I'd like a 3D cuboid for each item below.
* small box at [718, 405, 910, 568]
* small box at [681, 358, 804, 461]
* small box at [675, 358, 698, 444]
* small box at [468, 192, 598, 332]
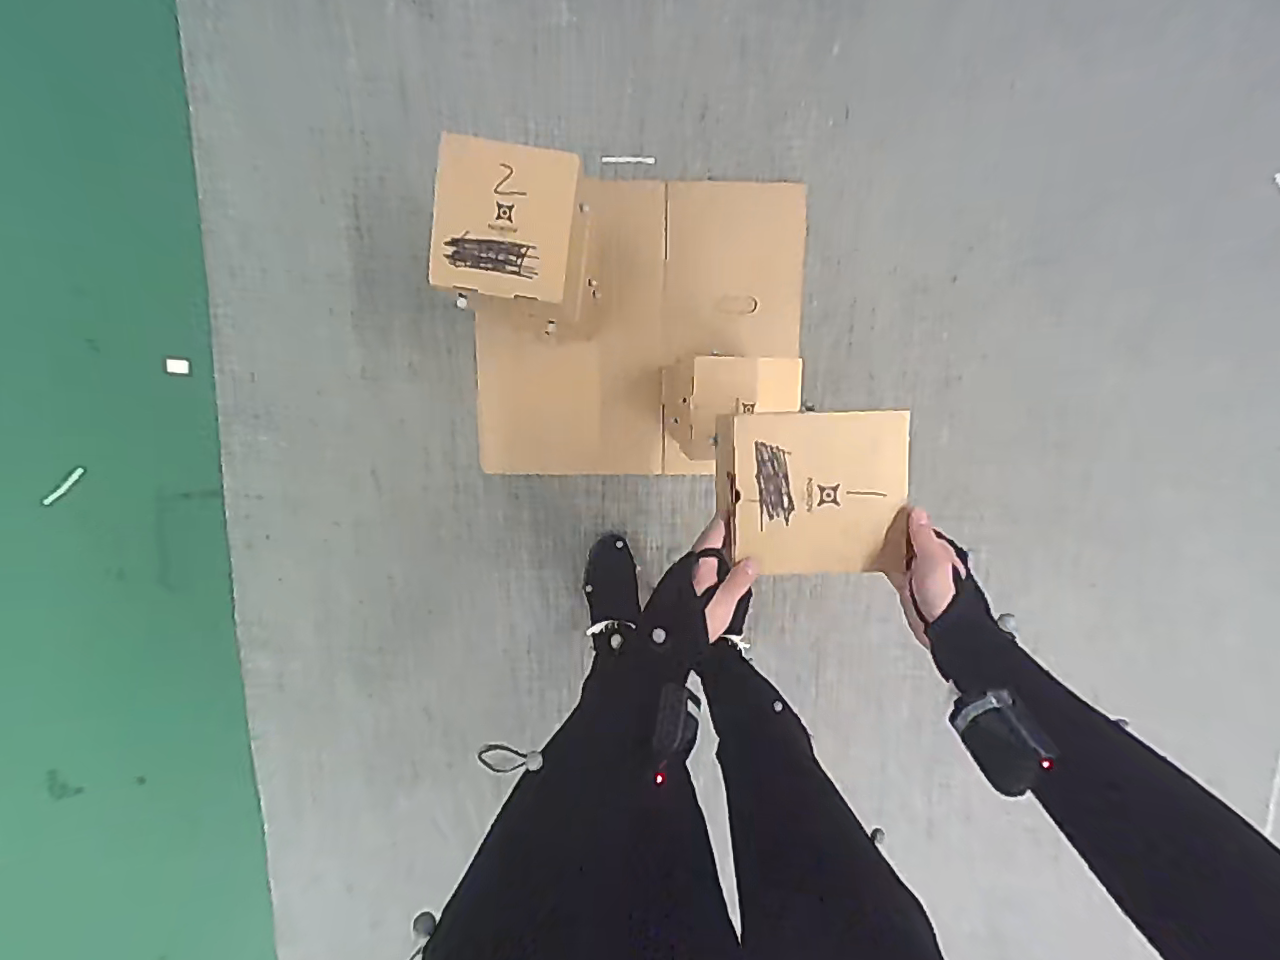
[{"bbox_3d":[0.184,0.000,0.623,0.179,0.176,0.168,-1,97,1],"label":"small box"},{"bbox_3d":[0.168,-0.123,0.936,0.179,0.176,0.168,1,99,0],"label":"small box"},{"bbox_3d":[0.164,-0.154,1.095,0.179,0.176,0.168,1,99,-2],"label":"small box"},{"bbox_3d":[-0.165,-0.344,0.888,0.179,0.176,0.168,8,97,-3],"label":"small box"}]
